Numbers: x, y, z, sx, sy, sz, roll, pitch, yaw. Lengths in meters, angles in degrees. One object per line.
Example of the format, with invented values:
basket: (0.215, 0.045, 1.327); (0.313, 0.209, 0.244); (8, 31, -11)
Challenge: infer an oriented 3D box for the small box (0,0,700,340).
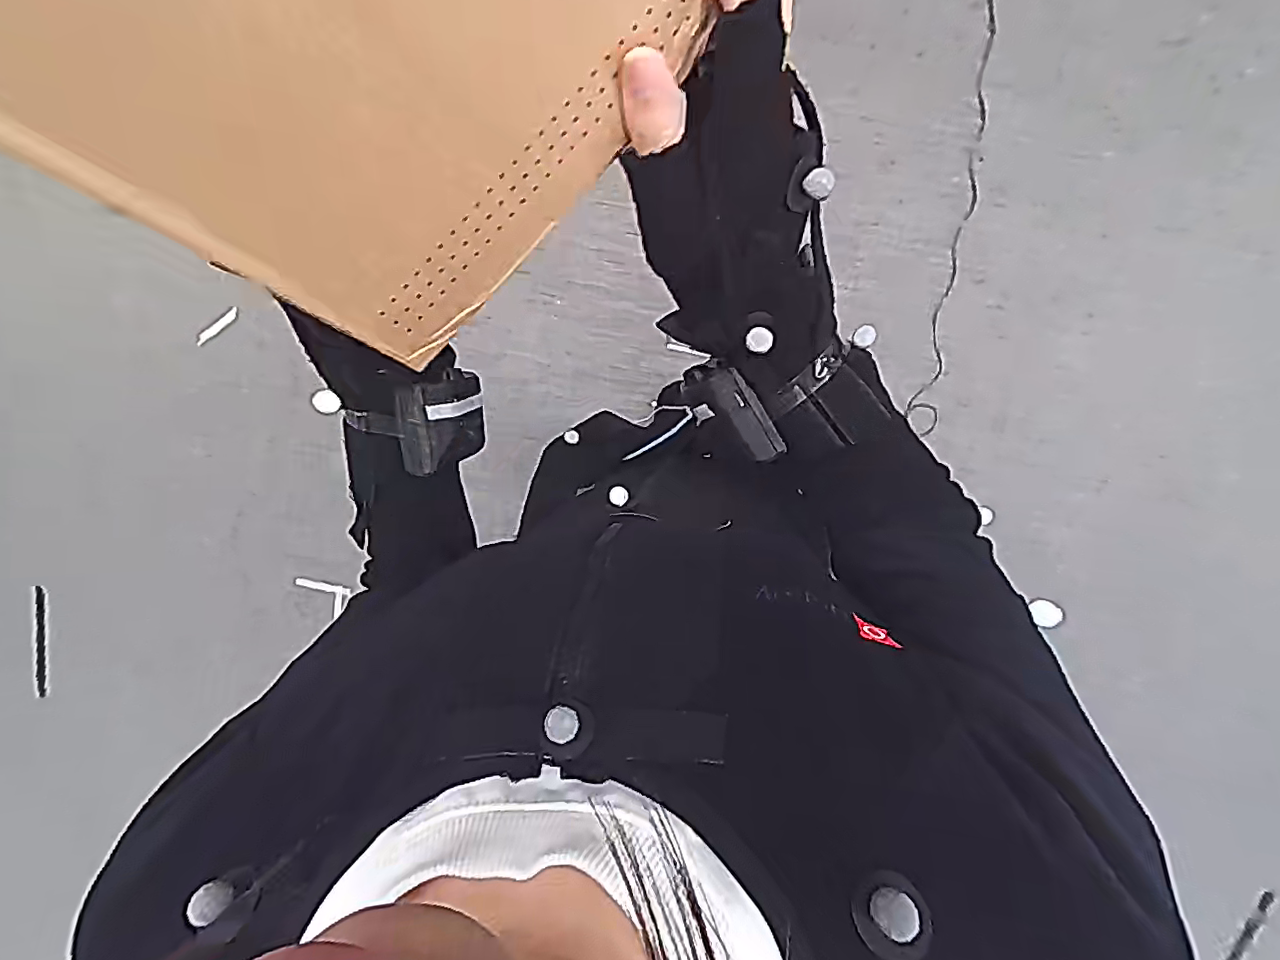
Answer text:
small box: (-0.105, -0.184, 0.190); (0.179, 0.176, 0.168); (-45, 66, 6)
